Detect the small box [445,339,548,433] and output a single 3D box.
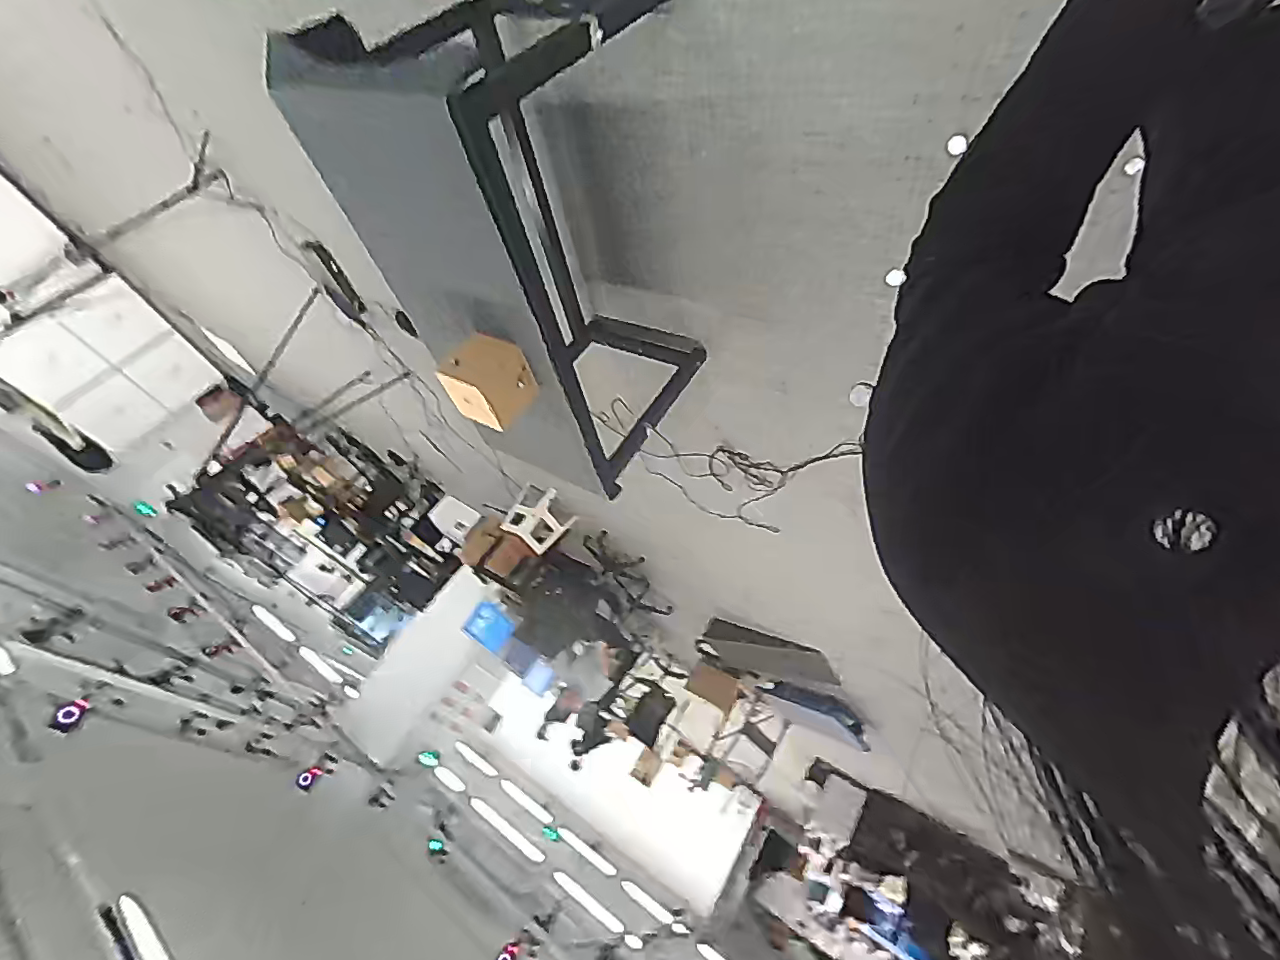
[{"bbox_3d":[-0.385,-0.261,1.473,0.179,0.176,0.168,23,152,28],"label":"small box"}]
